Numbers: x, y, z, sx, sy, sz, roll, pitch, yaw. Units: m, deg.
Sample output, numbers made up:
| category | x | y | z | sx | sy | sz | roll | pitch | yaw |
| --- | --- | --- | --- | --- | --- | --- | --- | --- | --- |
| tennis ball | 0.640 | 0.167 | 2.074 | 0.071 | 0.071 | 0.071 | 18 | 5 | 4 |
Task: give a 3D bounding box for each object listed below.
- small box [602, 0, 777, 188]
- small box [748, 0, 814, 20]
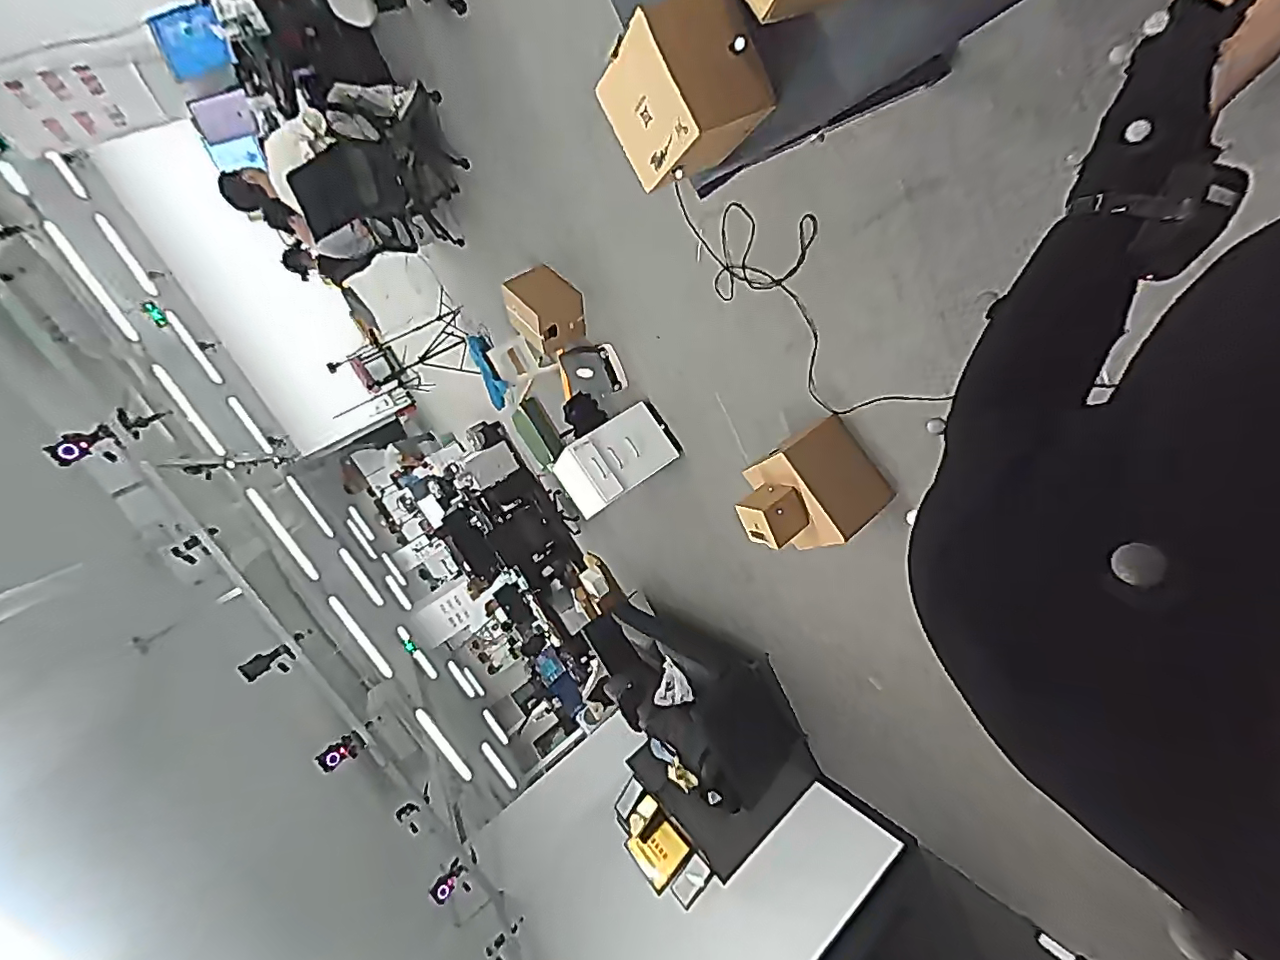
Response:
| category | x | y | z | sx | sy | sz | roll | pitch | yaw |
| --- | --- | --- | --- | --- | --- | --- | --- | --- | --- |
| small box | 0.075 | -0.597 | 0.834 | 0.179 | 0.176 | 0.168 | 60 | 158 | -11 |
| small box | 0.184 | -0.636 | 0.553 | 0.168 | 0.176 | 0.179 | 56 | 158 | -2 |
